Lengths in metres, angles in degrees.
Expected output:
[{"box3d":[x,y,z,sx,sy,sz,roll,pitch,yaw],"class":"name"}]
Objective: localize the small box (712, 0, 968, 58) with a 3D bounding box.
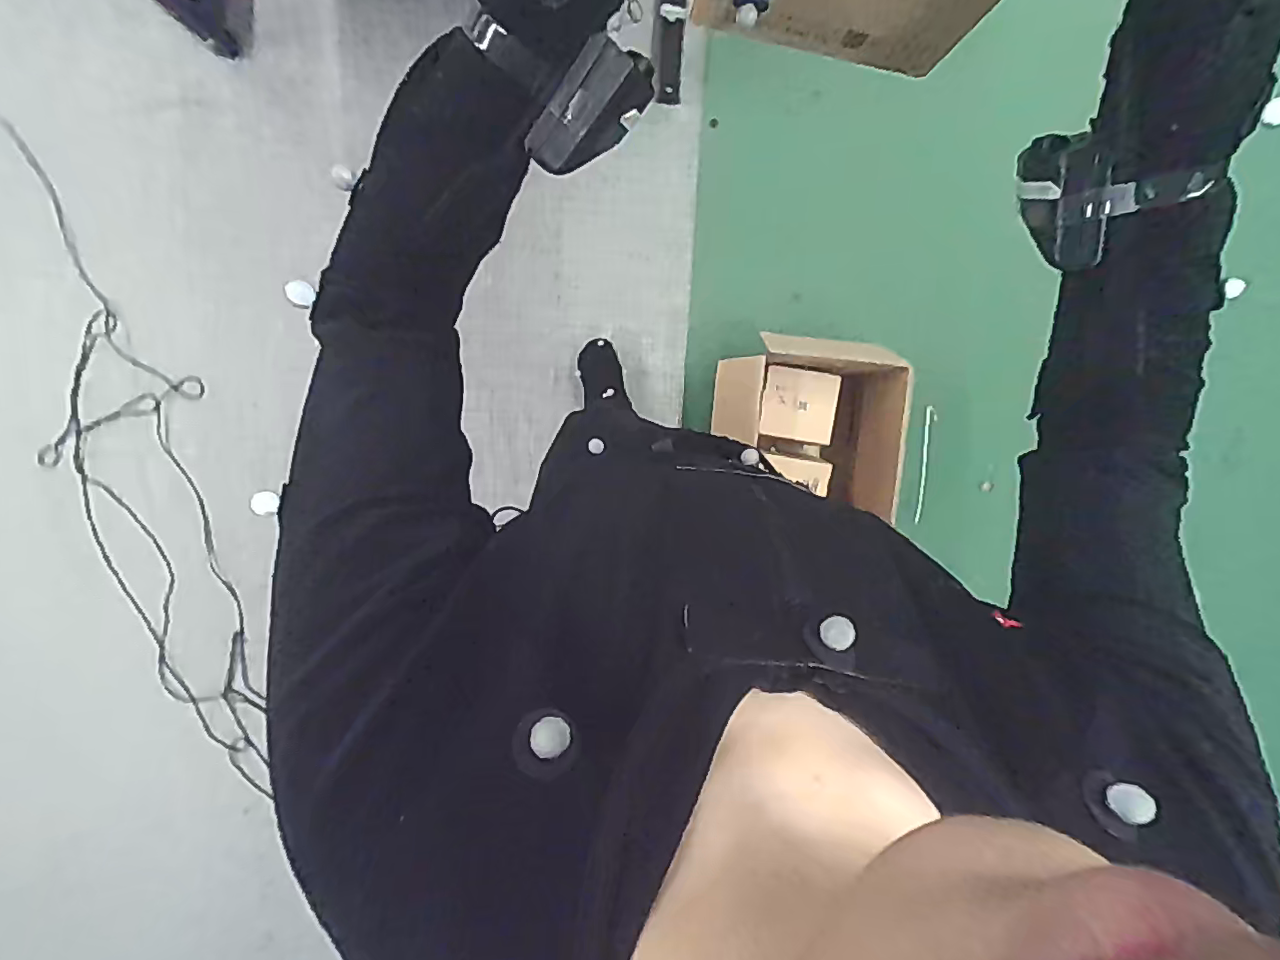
[{"box3d":[0.123,-0.357,0.262,0.168,0.176,0.179,7,96,-6],"class":"small box"}]
